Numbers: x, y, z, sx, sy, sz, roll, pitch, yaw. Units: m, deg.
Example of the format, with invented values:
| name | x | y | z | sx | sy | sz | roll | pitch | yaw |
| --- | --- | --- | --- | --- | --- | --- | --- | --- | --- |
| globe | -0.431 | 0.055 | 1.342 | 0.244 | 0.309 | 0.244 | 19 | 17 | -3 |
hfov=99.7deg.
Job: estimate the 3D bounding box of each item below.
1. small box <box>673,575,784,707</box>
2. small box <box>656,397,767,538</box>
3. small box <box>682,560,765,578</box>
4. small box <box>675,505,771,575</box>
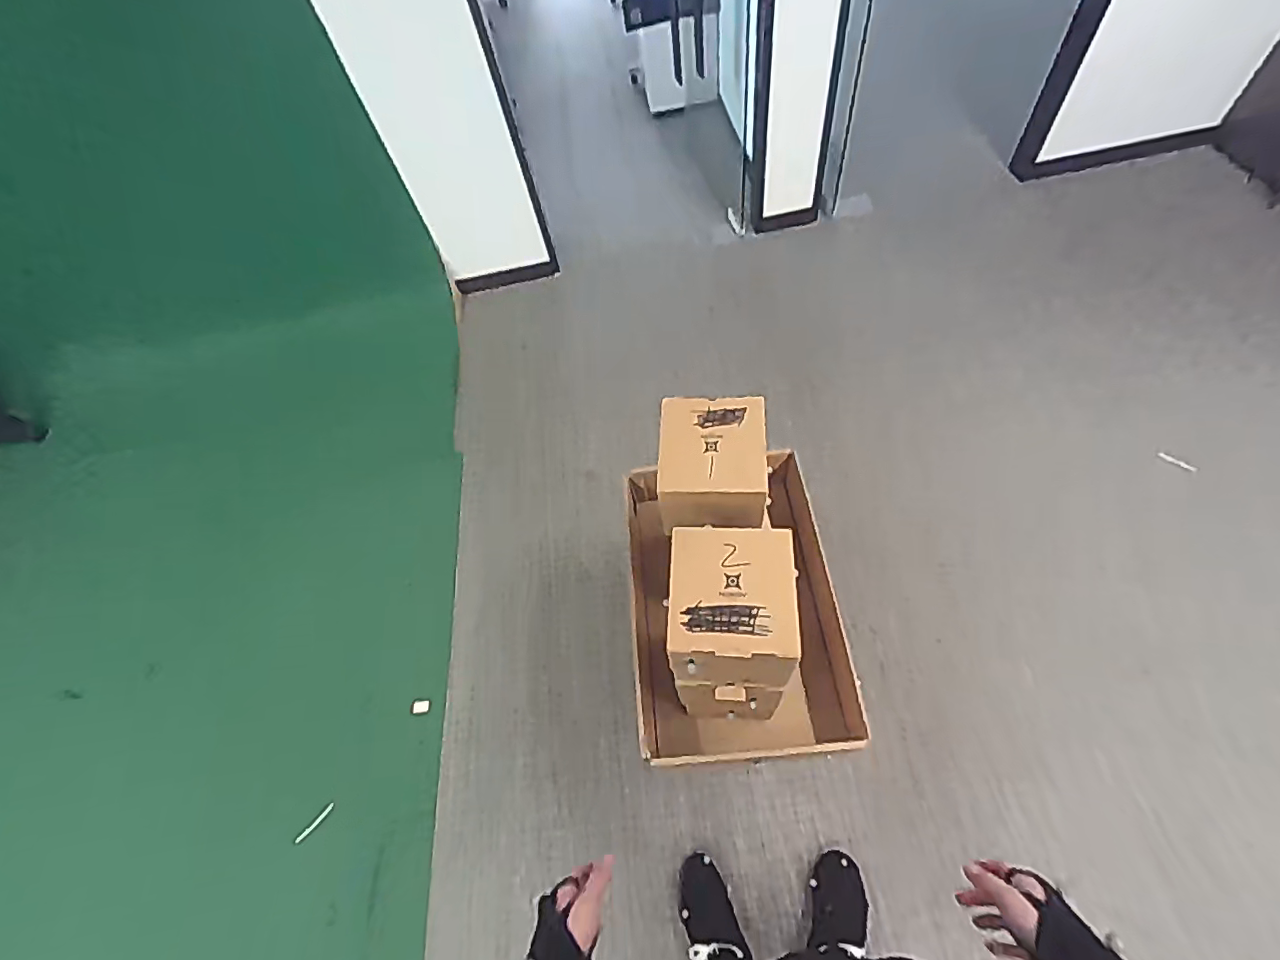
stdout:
| name | x | y | z | sx | sy | sz | roll | pitch | yaw |
| --- | --- | --- | --- | --- | --- | --- | --- | --- | --- |
| small box | 0.150 | 0.274 | 0.907 | 0.168 | 0.176 | 0.179 | 0 | 57 | 9 |
| small box | 0.120 | -0.019 | 0.903 | 0.168 | 0.176 | 0.179 | 0 | 61 | 9 |
| small box | 0.170 | 0.147 | 1.180 | 0.168 | 0.176 | 0.179 | -8 | 59 | 5 |
| small box | 0.147 | 0.067 | 1.041 | 0.168 | 0.176 | 0.179 | -8 | 60 | 4 |
